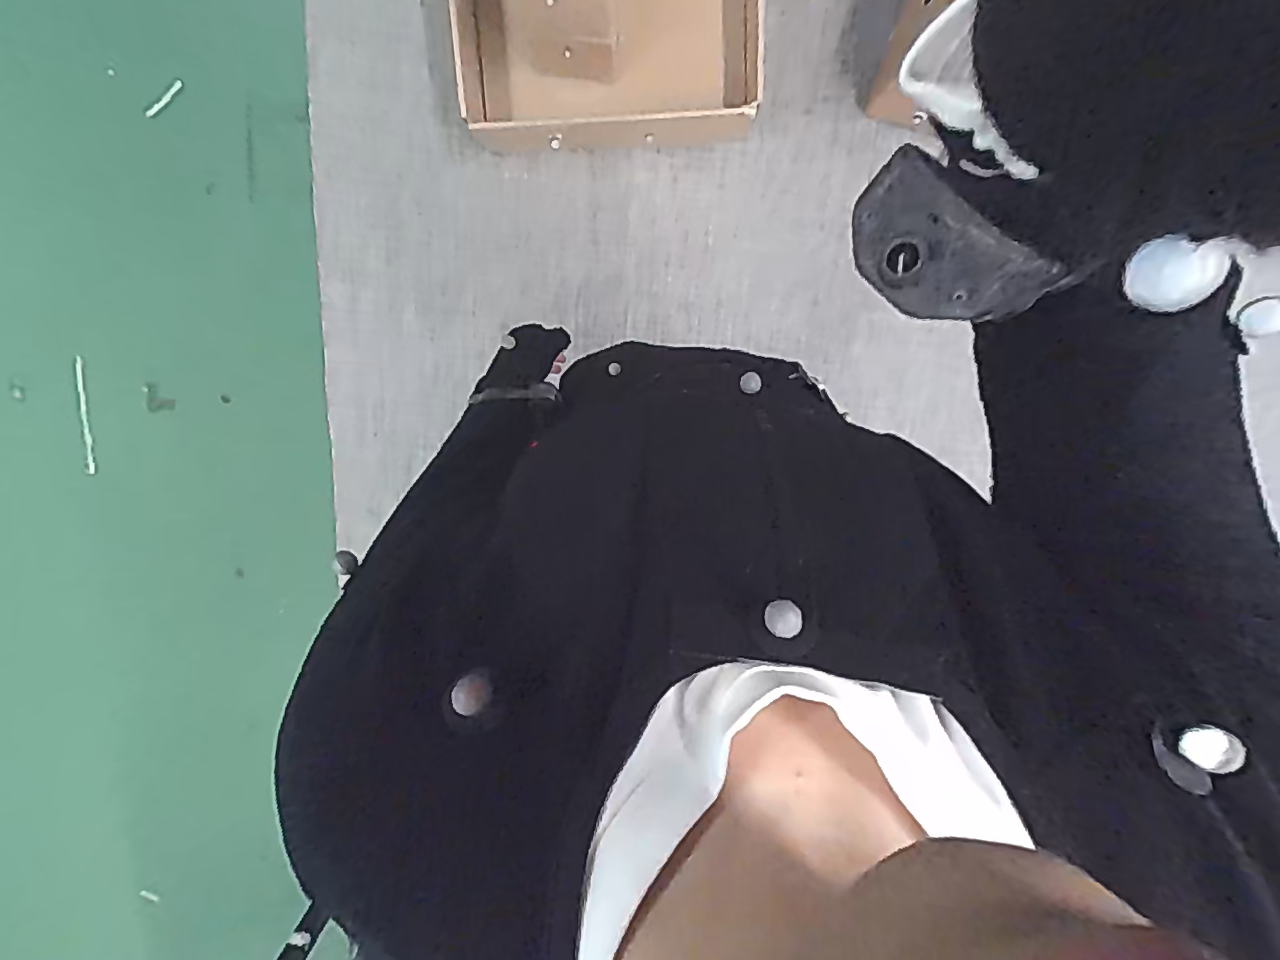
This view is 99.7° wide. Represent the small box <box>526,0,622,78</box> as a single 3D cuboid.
[{"bbox_3d":[-0.131,-0.966,1.117,0.179,0.176,0.168,4,104,-2],"label":"small box"}]

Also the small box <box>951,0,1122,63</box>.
[{"bbox_3d":[0.647,-0.808,0.865,0.179,0.176,0.168,9,105,-2],"label":"small box"}]
